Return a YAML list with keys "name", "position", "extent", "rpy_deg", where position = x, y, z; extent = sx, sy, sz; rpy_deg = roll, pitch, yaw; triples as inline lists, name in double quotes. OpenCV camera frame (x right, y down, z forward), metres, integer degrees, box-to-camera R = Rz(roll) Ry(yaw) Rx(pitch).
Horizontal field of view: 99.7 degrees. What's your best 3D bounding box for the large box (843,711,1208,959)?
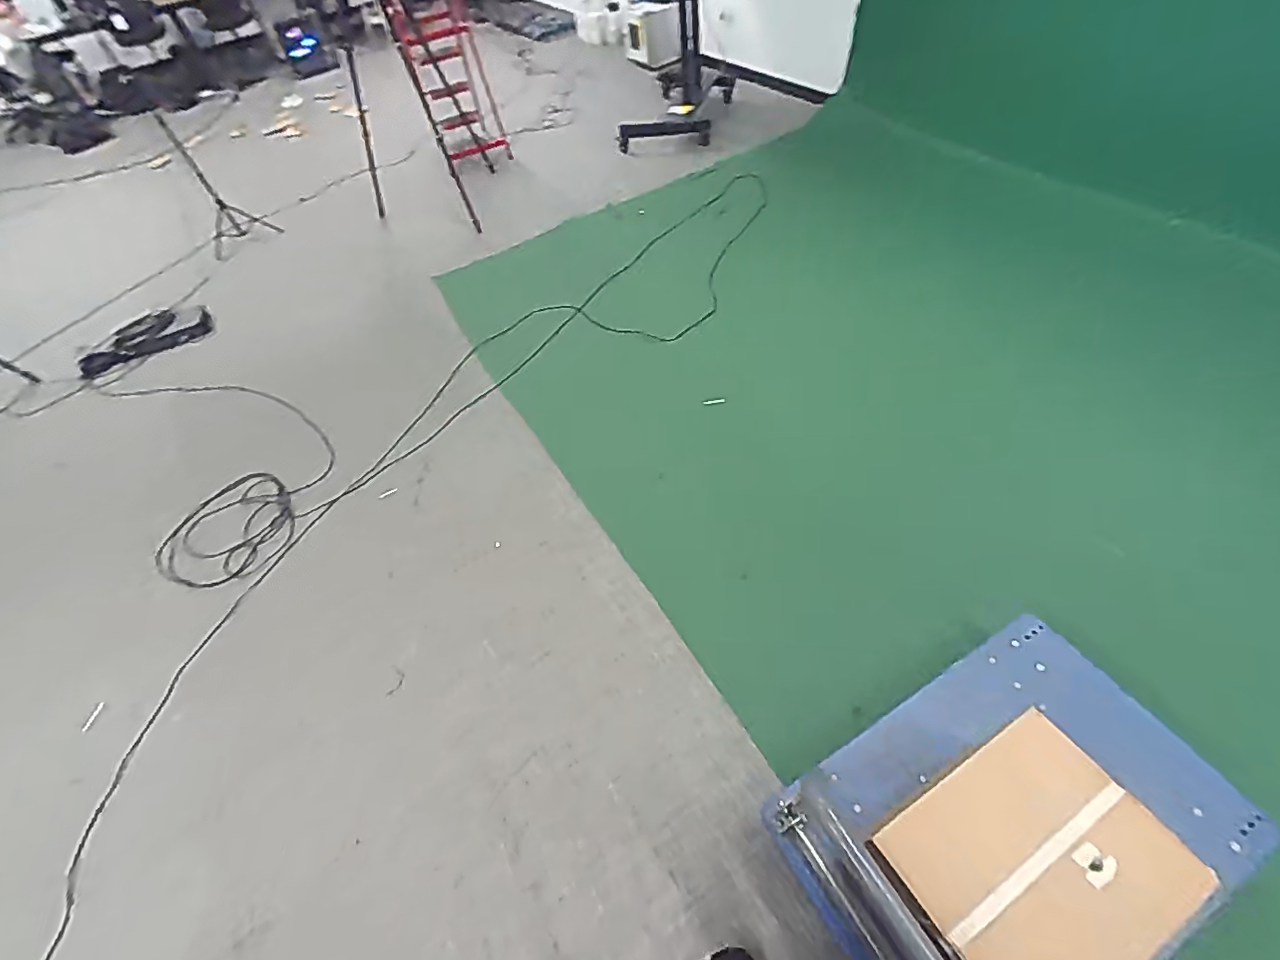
- name: "large box"
  position: [0.649, 0.709, 0.984]
  extent: [0.408, 0.320, 0.320]
  rpy_deg: [-28, 53, -14]
